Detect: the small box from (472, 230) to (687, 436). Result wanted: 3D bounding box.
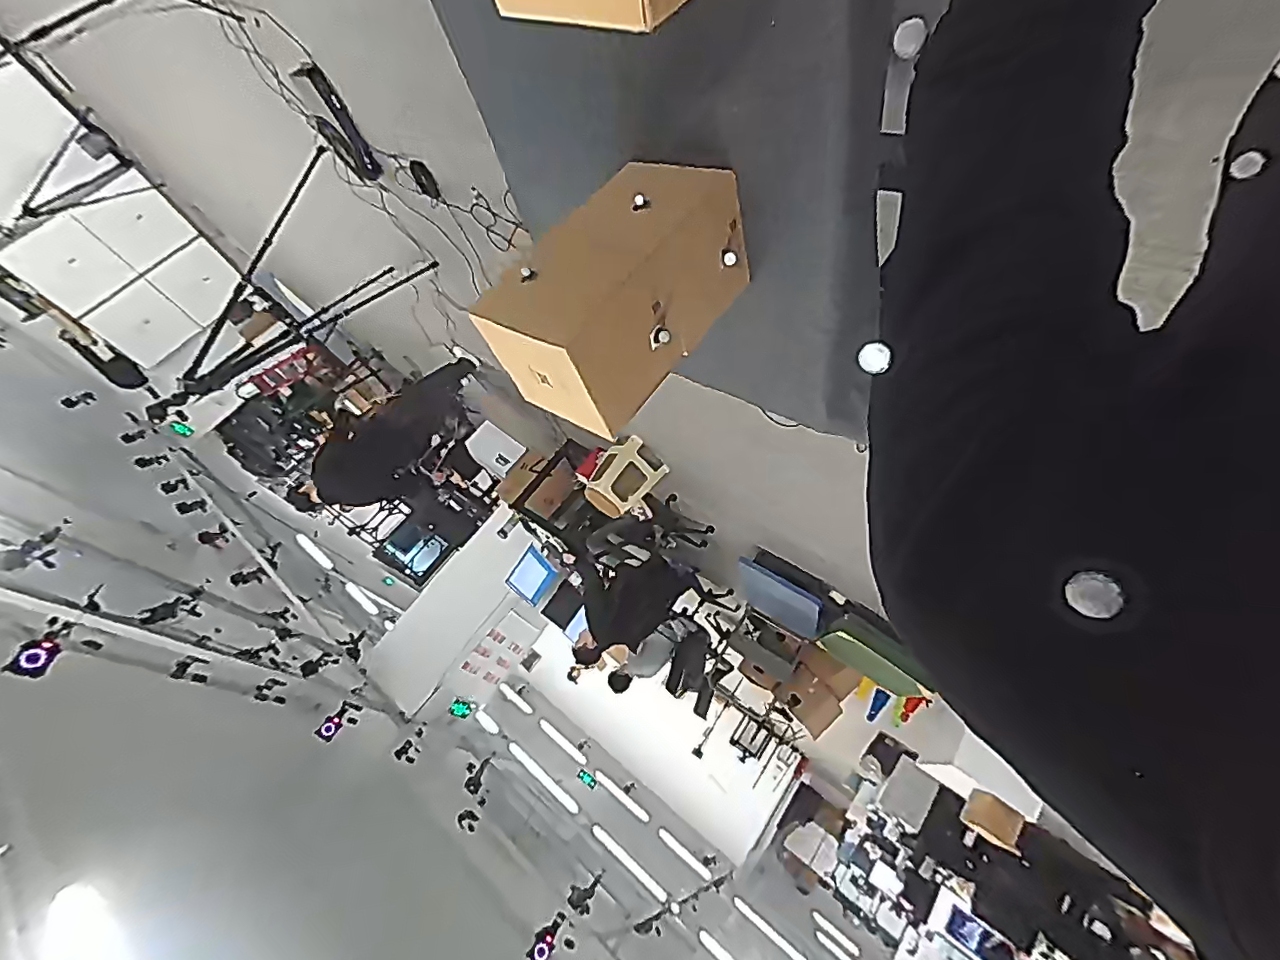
[{"bbox_3d":[-0.067,-0.191,0.687,0.179,0.176,0.168,26,159,32],"label":"small box"}]

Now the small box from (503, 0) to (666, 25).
[{"bbox_3d":[-0.020,-0.491,0.413,0.179,0.176,0.168,30,159,26],"label":"small box"}]

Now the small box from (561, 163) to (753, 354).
[{"bbox_3d":[0.031,-0.308,0.741,0.179,0.176,0.168,26,158,32],"label":"small box"}]
